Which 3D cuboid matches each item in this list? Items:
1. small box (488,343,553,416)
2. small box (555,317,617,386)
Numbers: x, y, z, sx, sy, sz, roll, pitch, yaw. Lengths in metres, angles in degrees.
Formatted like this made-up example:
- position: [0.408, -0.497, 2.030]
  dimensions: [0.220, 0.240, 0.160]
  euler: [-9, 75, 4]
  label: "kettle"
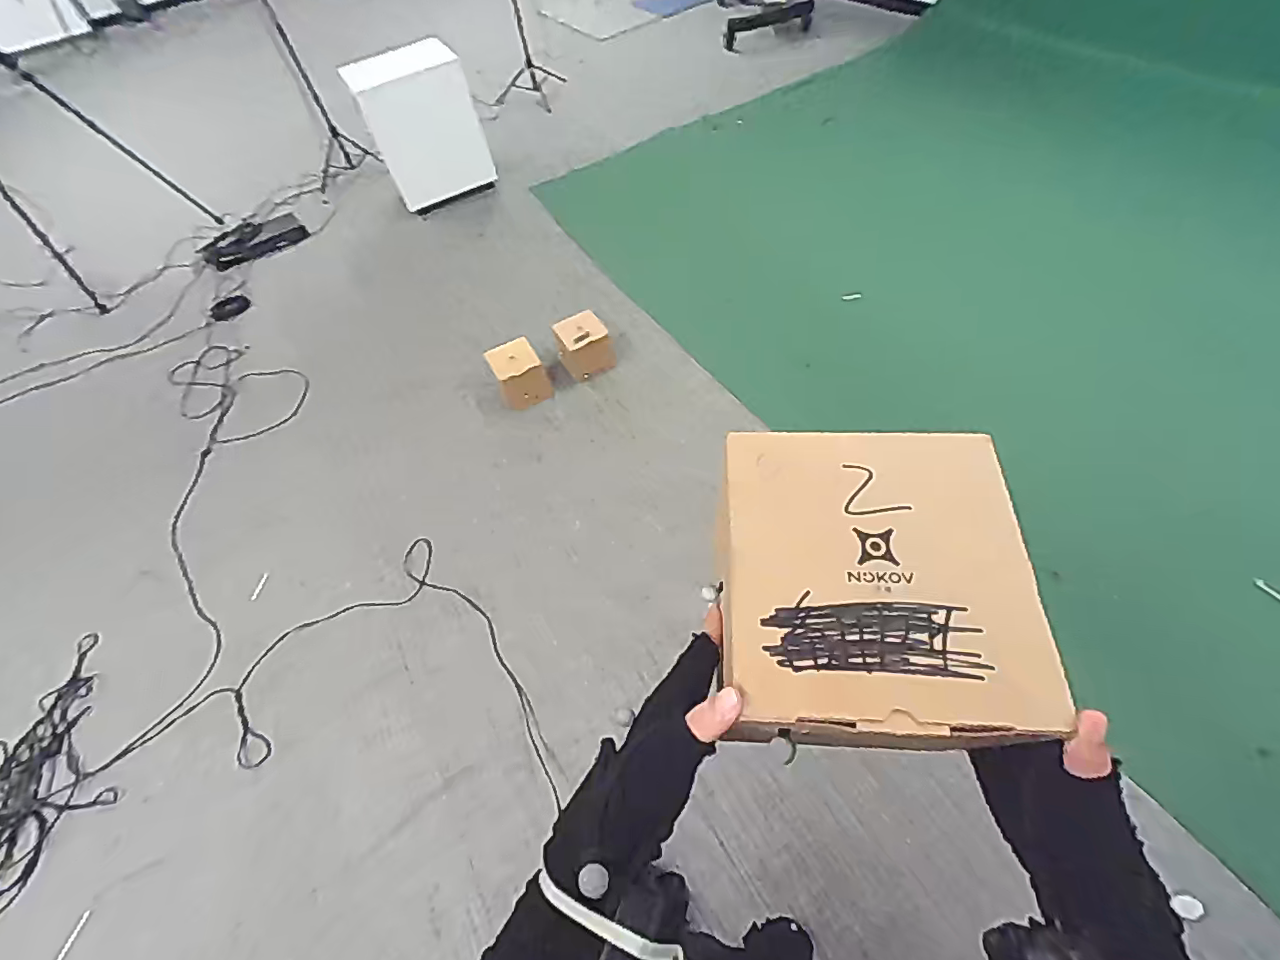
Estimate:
- position: [-0.443, -0.372, 2.022]
  dimensions: [0.168, 0.176, 0.179]
  euler: [-27, 56, -12]
  label: "small box"
- position: [-0.204, -0.484, 2.071]
  dimensions: [0.168, 0.176, 0.179]
  euler: [-27, 55, -12]
  label: "small box"
